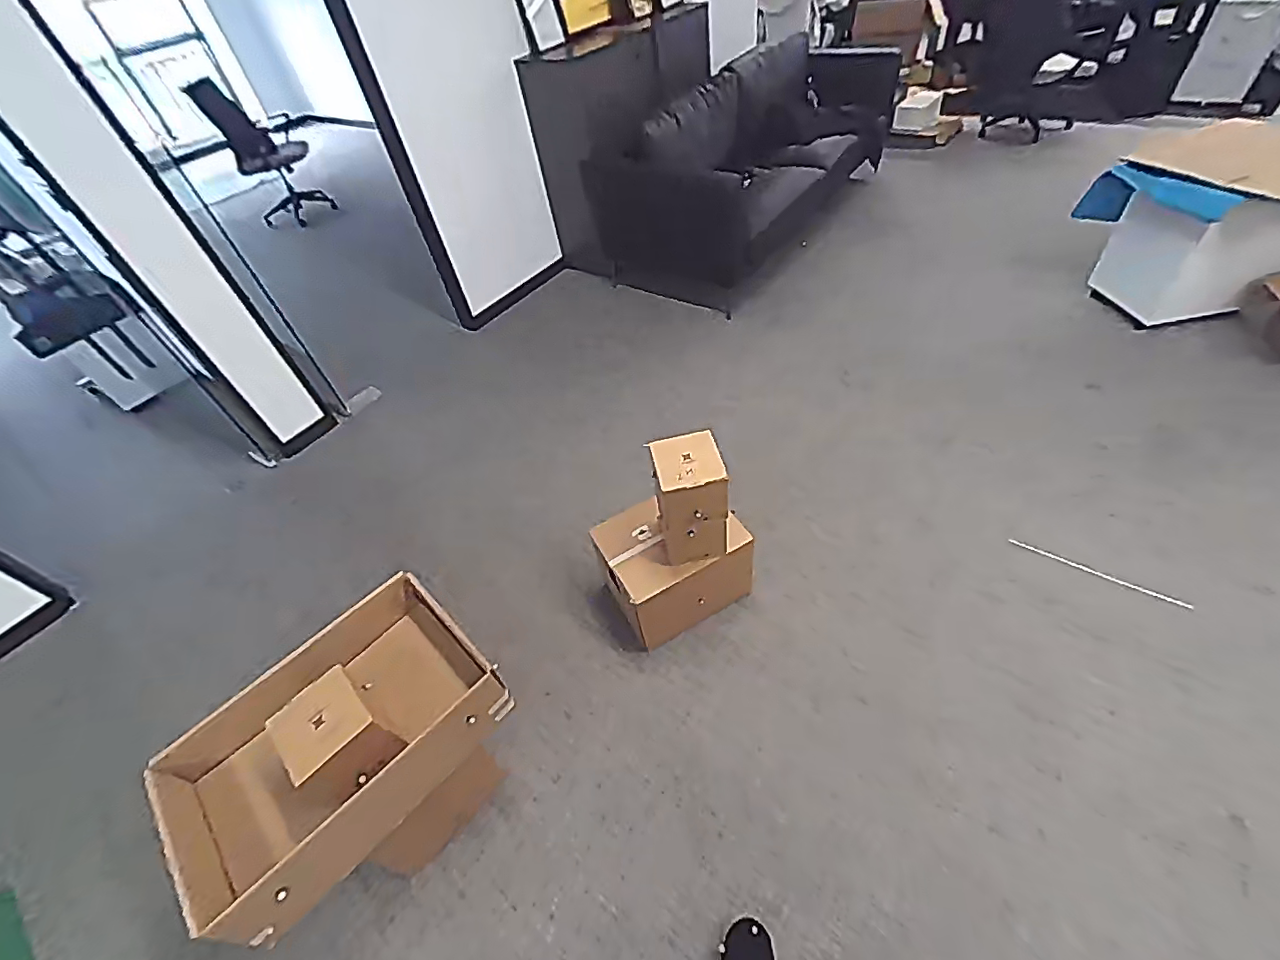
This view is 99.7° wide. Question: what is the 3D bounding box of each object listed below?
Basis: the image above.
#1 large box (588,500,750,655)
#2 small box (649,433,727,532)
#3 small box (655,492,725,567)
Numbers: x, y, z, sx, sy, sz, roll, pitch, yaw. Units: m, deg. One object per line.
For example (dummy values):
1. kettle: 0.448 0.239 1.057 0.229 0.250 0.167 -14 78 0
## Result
1. large box: 0.100 0.277 1.726 0.408 0.320 0.320 -27 49 -14
2. small box: 0.124 0.008 1.408 0.168 0.176 0.179 -12 49 -2
3. small box: 0.140 0.119 1.529 0.168 0.176 0.179 -12 48 -1
